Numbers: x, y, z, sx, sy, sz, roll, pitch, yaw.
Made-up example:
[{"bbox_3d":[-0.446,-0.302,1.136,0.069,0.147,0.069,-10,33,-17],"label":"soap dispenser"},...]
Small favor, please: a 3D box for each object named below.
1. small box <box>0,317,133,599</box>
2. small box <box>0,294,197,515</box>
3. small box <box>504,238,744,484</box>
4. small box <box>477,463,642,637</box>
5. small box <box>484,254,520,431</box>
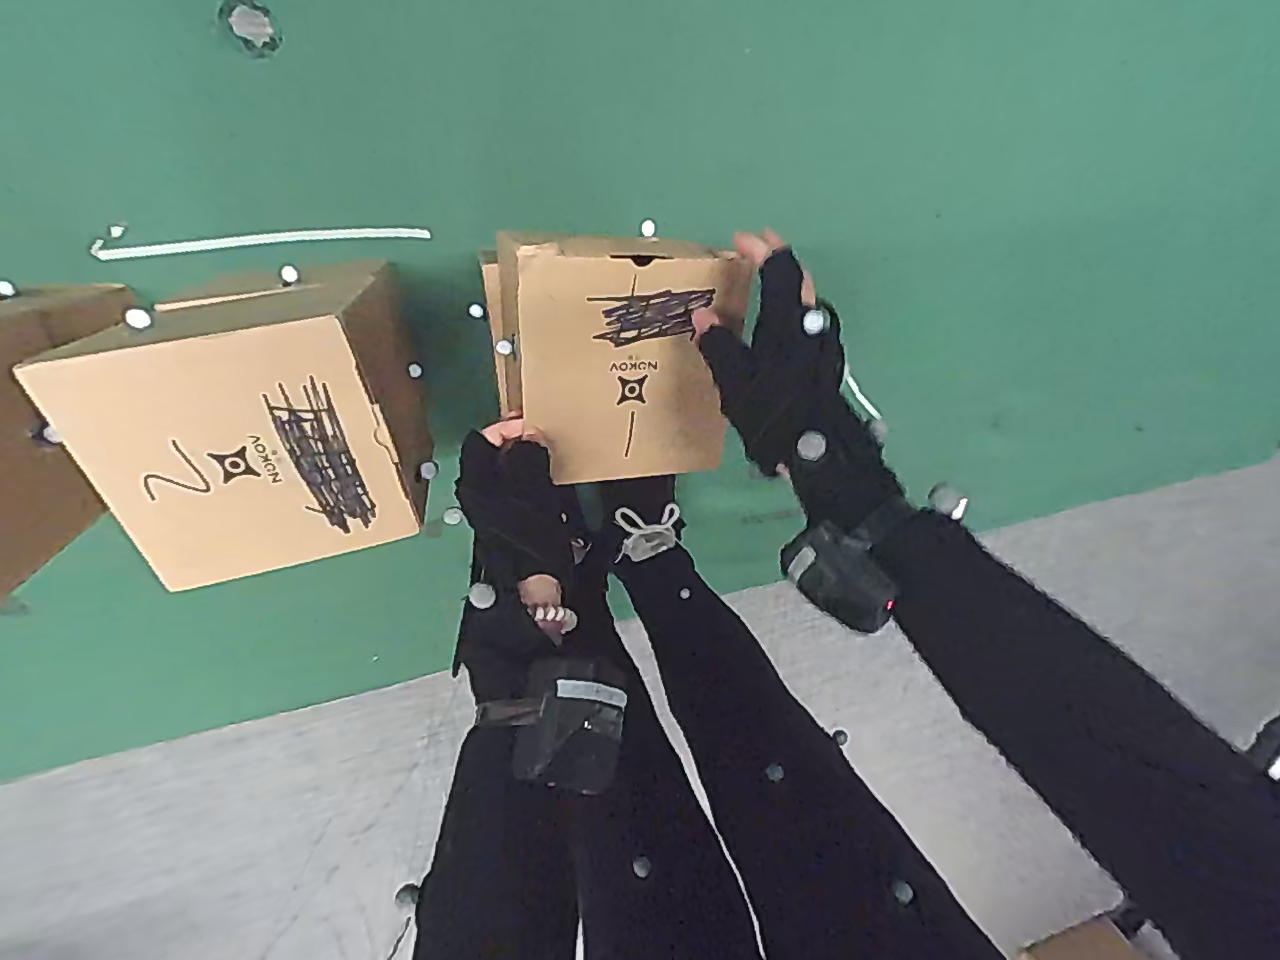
[{"bbox_3d":[-0.524,-0.014,0.373,0.179,0.176,0.168,-7,118,-13],"label":"small box"},{"bbox_3d":[-0.575,-0.075,0.518,0.168,0.176,0.179,-6,117,-14],"label":"small box"},{"bbox_3d":[-0.028,-0.114,0.478,0.168,0.176,0.179,-5,117,-16],"label":"small box"},{"bbox_3d":[-0.112,0.084,0.762,0.179,0.176,0.168,26,117,-8],"label":"small box"},{"bbox_3d":[-0.079,-0.169,0.624,0.179,0.176,0.168,-8,118,-14],"label":"small box"}]
